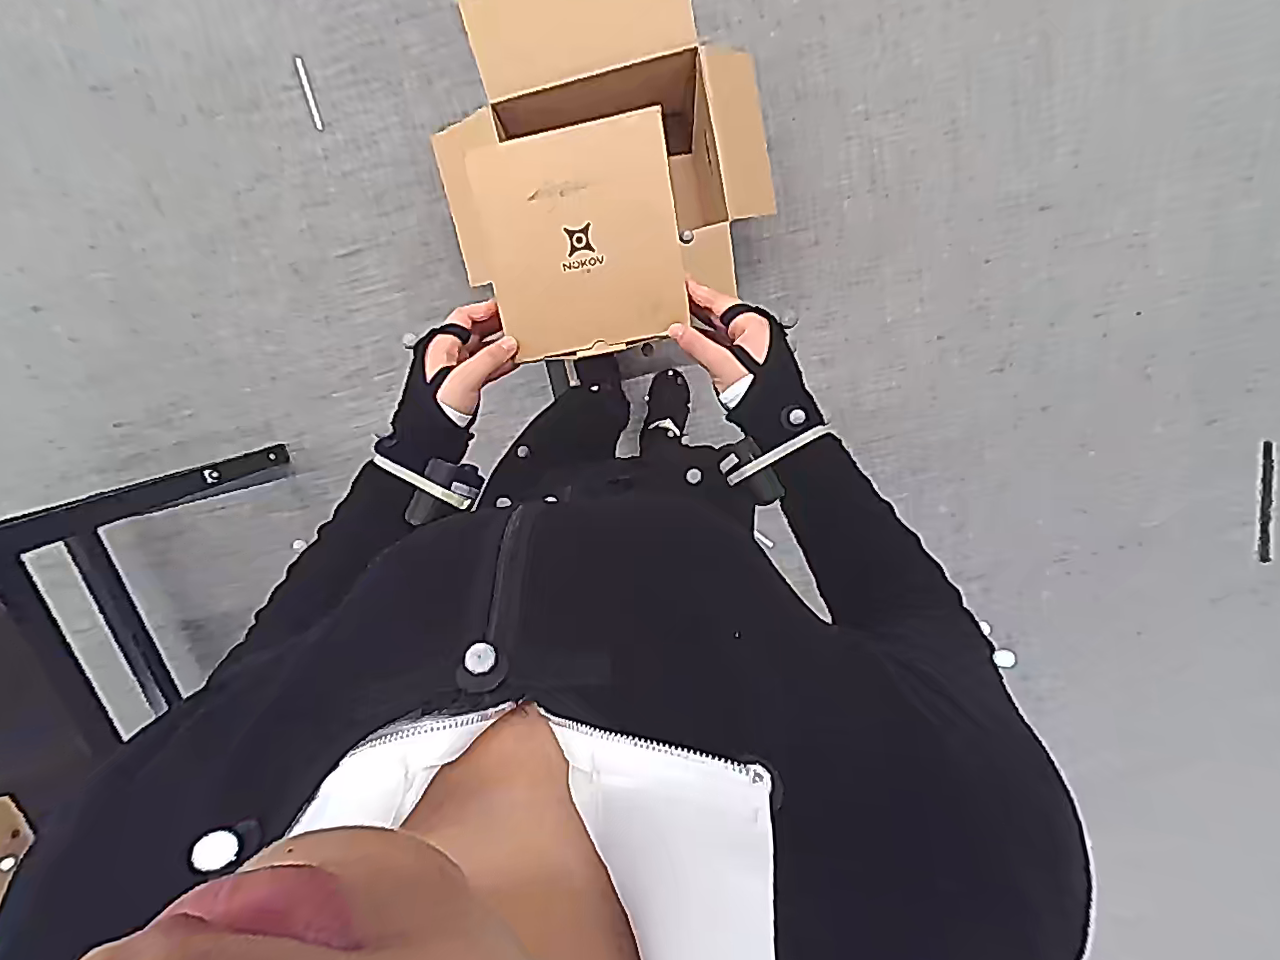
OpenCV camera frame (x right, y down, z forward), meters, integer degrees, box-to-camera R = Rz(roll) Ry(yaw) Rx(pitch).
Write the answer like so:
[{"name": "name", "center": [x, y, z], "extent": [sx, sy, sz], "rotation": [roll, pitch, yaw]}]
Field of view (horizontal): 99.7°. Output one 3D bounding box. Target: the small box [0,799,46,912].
[{"name": "small box", "center": [-1.100, 0.627, 0.824], "extent": [0.179, 0.176, 0.168], "rotation": [-12, 104, 3]}]

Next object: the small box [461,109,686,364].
[{"name": "small box", "center": [-0.047, -0.221, 0.532], "extent": [0.168, 0.176, 0.179], "rotation": [-9, 105, 7]}]
